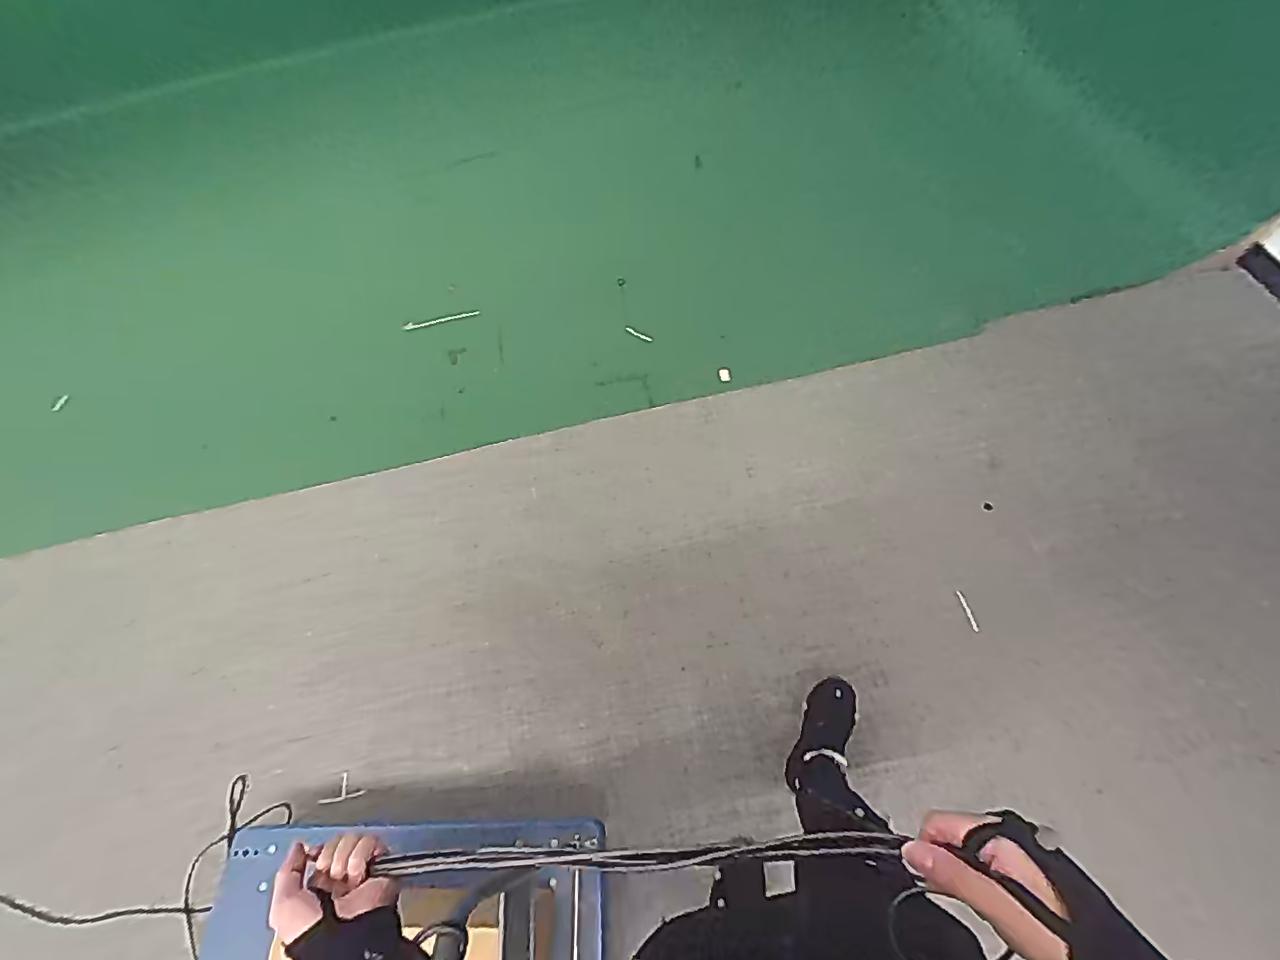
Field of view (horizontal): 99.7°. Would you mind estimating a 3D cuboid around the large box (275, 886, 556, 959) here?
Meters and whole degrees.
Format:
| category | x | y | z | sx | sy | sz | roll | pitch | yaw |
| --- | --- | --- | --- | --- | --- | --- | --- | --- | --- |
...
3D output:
| category | x | y | z | sx | sy | sz | roll | pitch | yaw |
| --- | --- | --- | --- | --- | --- | --- | --- | --- | --- |
| large box | -0.381 | 0.940 | 0.952 | 0.408 | 0.320 | 0.320 | -5 | 62 | 6 |
